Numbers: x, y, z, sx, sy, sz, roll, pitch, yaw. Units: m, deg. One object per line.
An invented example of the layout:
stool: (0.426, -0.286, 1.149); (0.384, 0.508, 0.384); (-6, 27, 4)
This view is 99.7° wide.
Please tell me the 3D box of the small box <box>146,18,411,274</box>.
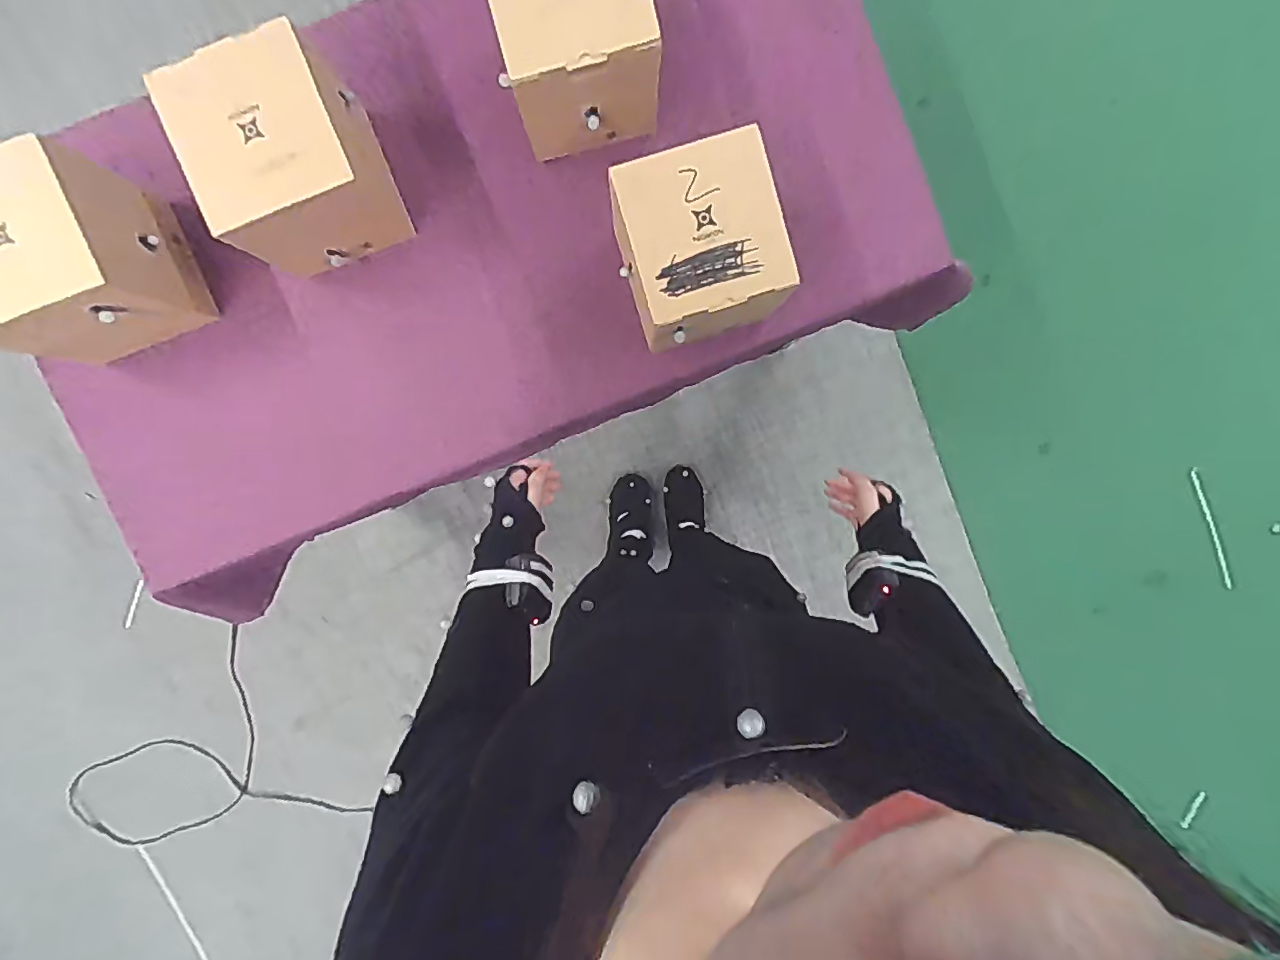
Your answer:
small box: (-0.408, -0.376, 0.645); (0.168, 0.176, 0.179); (-21, 95, 2)

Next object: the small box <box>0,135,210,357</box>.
small box: (-0.672, -0.262, 0.650); (0.179, 0.176, 0.168); (-21, 94, 1)

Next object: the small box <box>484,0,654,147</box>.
small box: (-0.083, -0.525, 0.634); (0.168, 0.176, 0.179); (-15, 96, 1)
